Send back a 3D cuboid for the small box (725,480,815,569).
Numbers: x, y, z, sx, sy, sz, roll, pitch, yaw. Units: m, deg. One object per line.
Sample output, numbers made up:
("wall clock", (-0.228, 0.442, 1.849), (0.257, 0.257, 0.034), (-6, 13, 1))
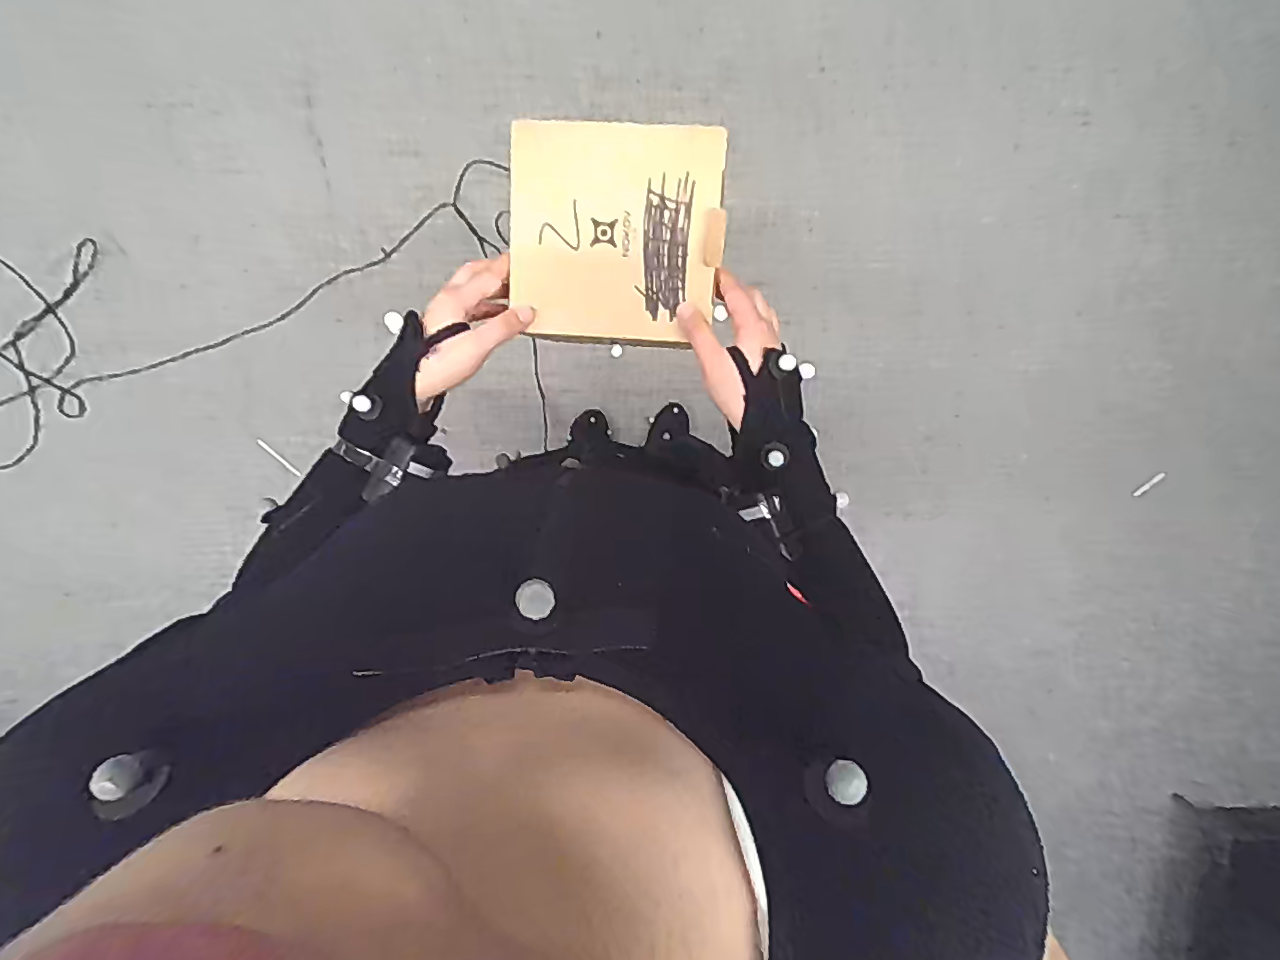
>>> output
("small box", (0.299, 0.099, 1.277), (0.179, 0.176, 0.168), (-5, 101, -2))
